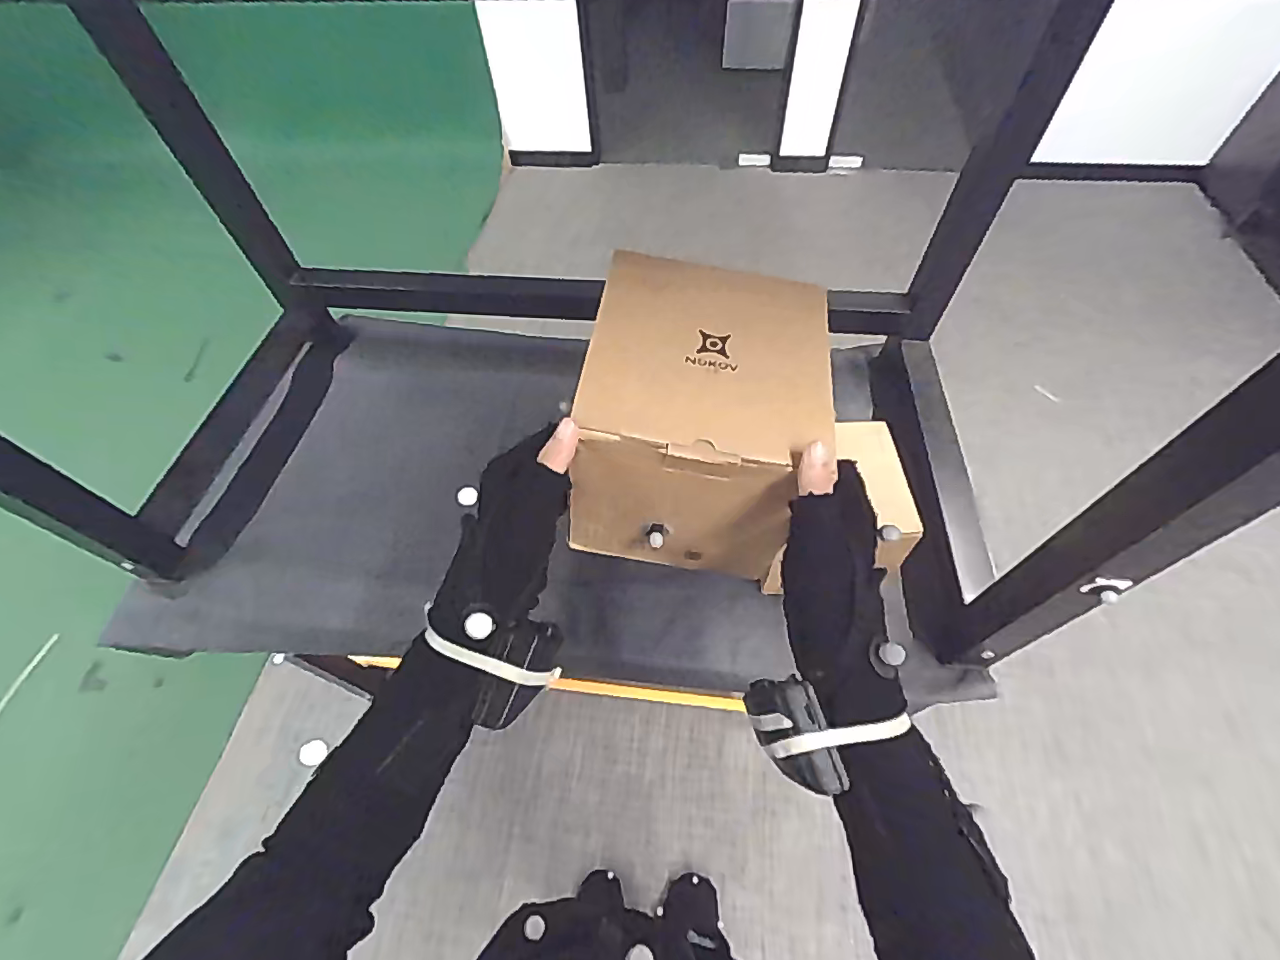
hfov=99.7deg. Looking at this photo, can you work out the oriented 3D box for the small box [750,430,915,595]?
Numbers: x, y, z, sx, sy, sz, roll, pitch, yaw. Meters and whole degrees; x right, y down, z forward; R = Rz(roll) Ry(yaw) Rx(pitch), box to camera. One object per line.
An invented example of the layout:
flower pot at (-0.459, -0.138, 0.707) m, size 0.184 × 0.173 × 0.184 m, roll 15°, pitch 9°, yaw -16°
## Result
small box at (0.251, 0.051, 0.753) m, size 0.168 × 0.176 × 0.179 m, roll -1°, pitch 53°, yaw 3°
